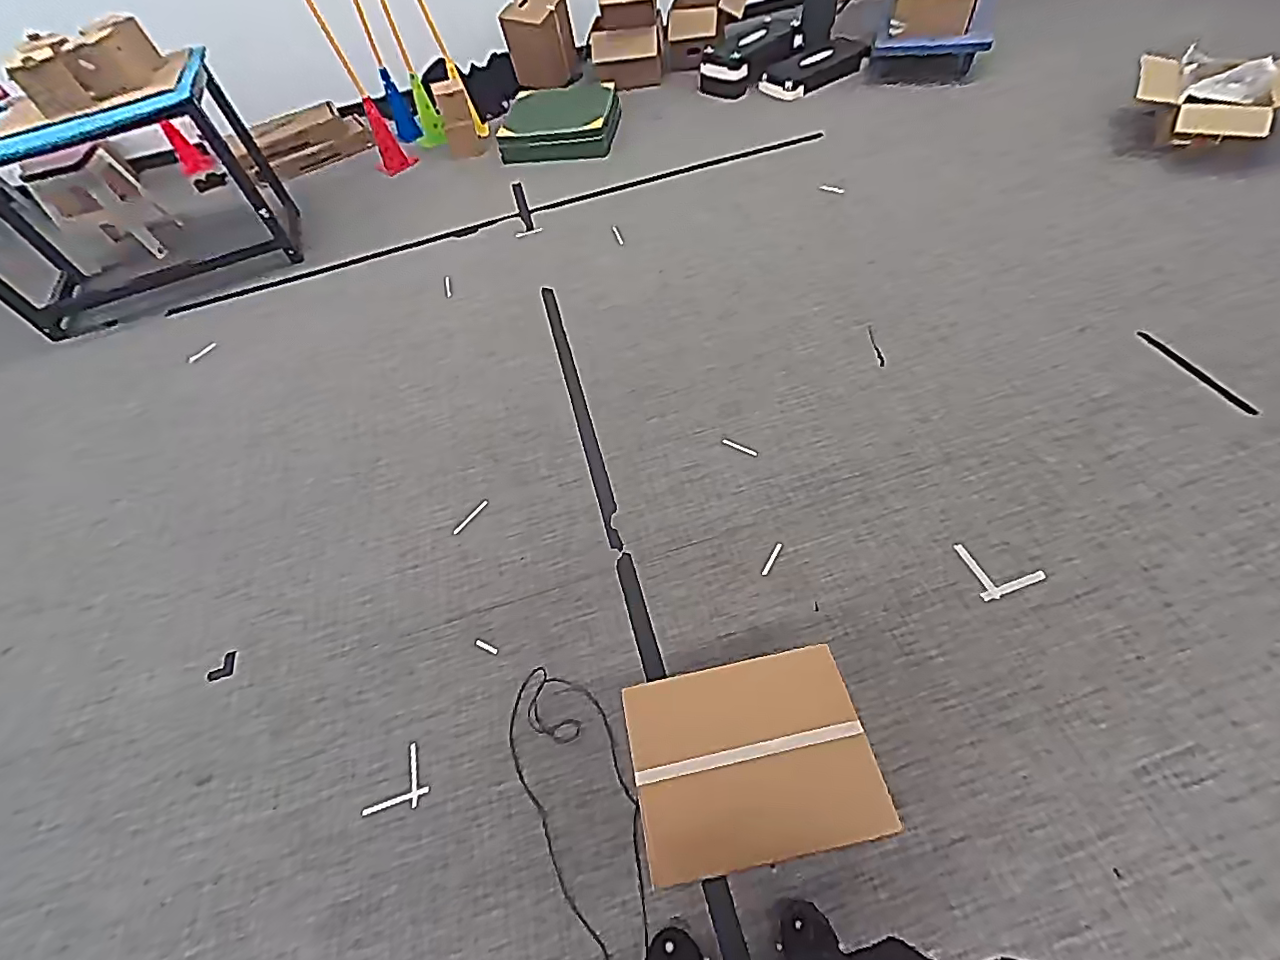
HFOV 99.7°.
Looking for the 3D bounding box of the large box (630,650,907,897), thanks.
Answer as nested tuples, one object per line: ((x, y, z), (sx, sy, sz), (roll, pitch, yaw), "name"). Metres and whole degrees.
((0.217, 0.573, 1.050), (0.408, 0.320, 0.320), (-12, 54, -1), "large box")
